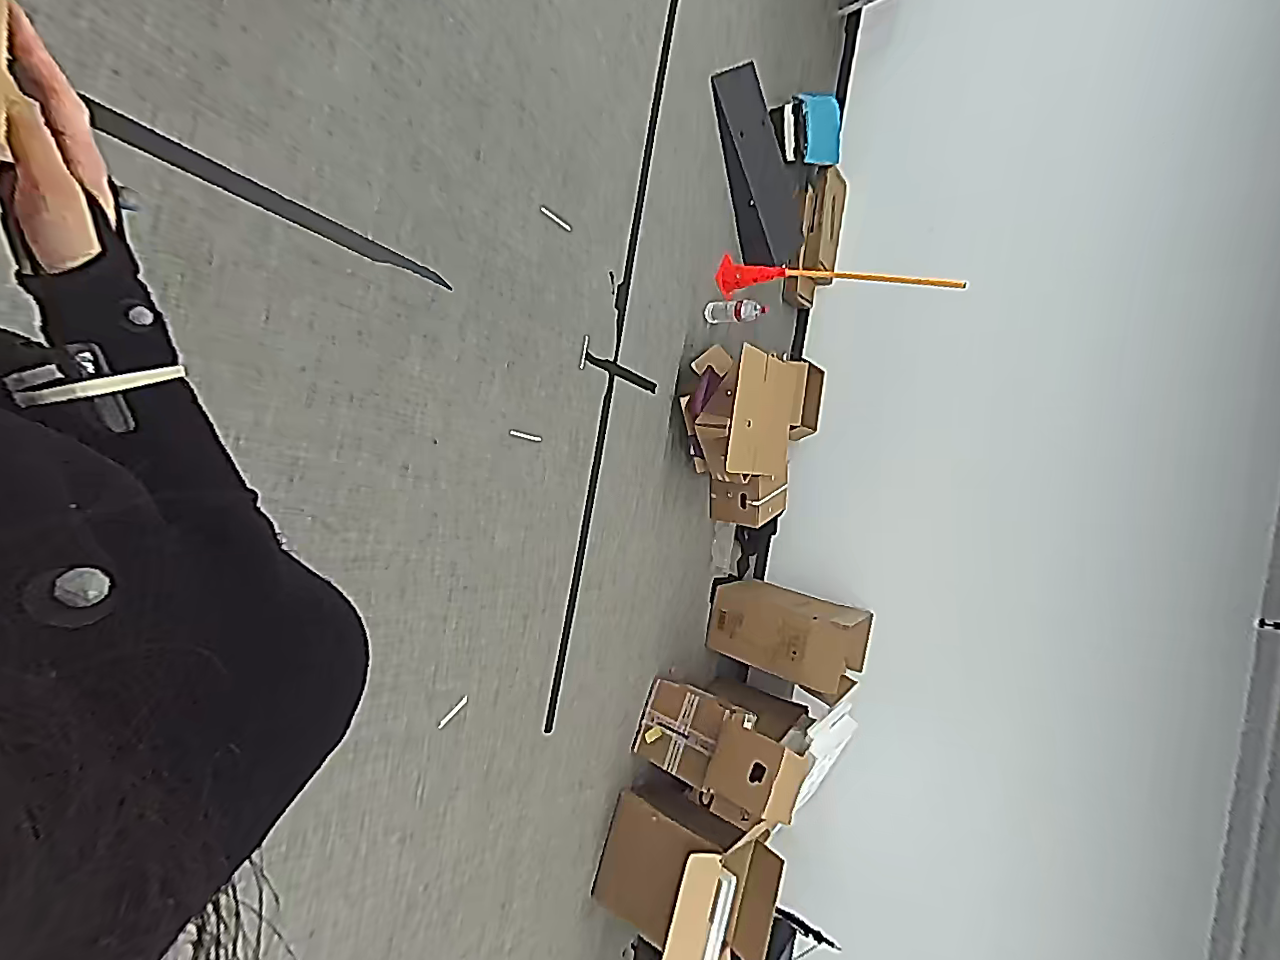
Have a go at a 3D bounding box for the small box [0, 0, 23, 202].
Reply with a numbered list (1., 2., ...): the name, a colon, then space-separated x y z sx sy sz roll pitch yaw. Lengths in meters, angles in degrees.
1. small box: -0.409 -0.223 0.237 0.168 0.176 0.179 2 79 -56
